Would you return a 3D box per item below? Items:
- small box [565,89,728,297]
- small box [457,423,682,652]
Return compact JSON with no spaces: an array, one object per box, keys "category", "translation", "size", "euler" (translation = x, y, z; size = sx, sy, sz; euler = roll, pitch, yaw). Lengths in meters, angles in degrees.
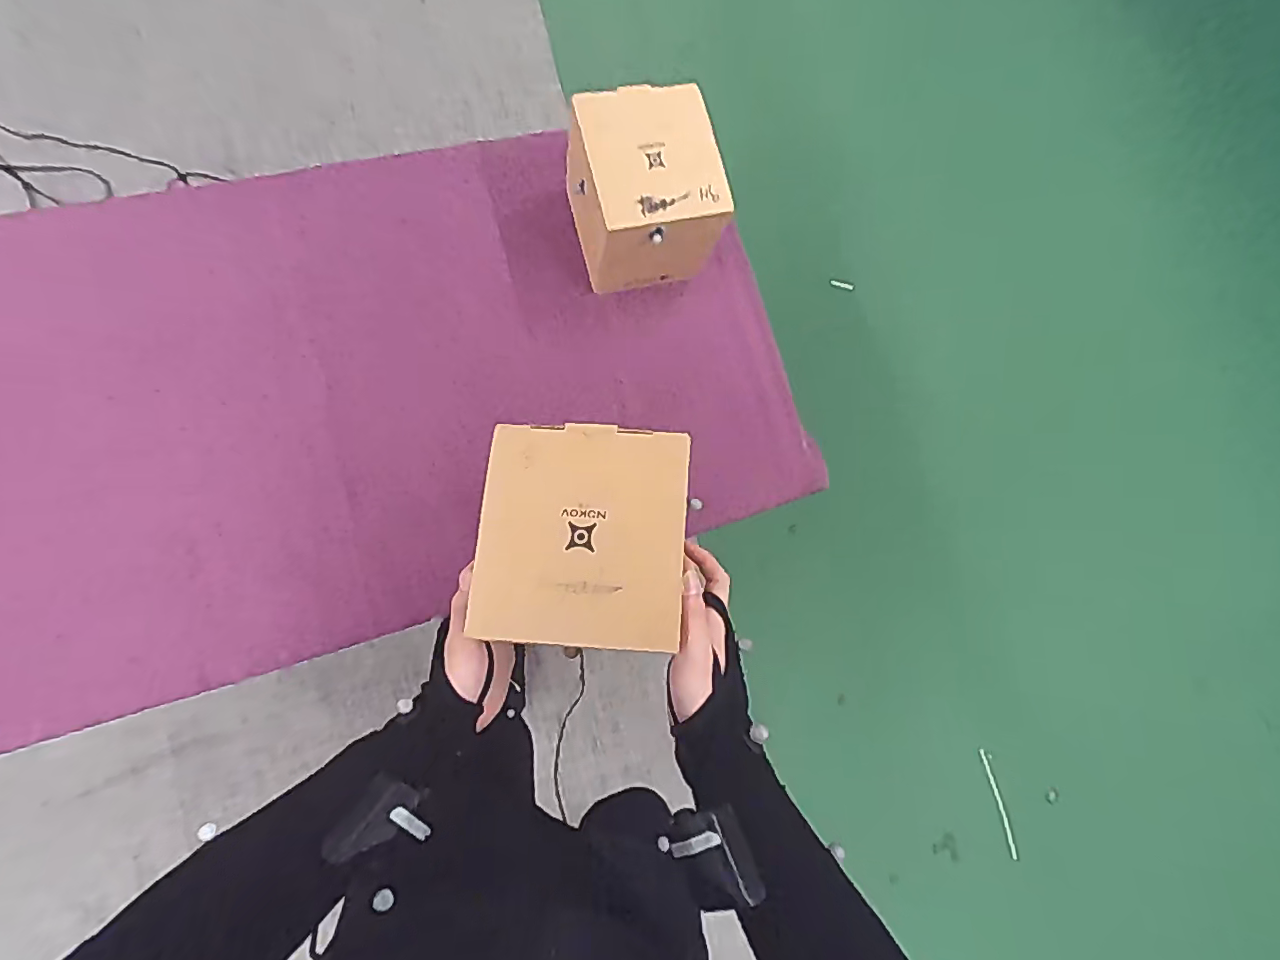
[{"category":"small box","translation":[-0.003,-0.378,0.732],"size":[0.168,0.176,0.179],"euler":[-15,84,-10]},{"category":"small box","translation":[-0.049,0.060,0.503],"size":[0.168,0.176,0.179],"euler":[2,76,4]}]
